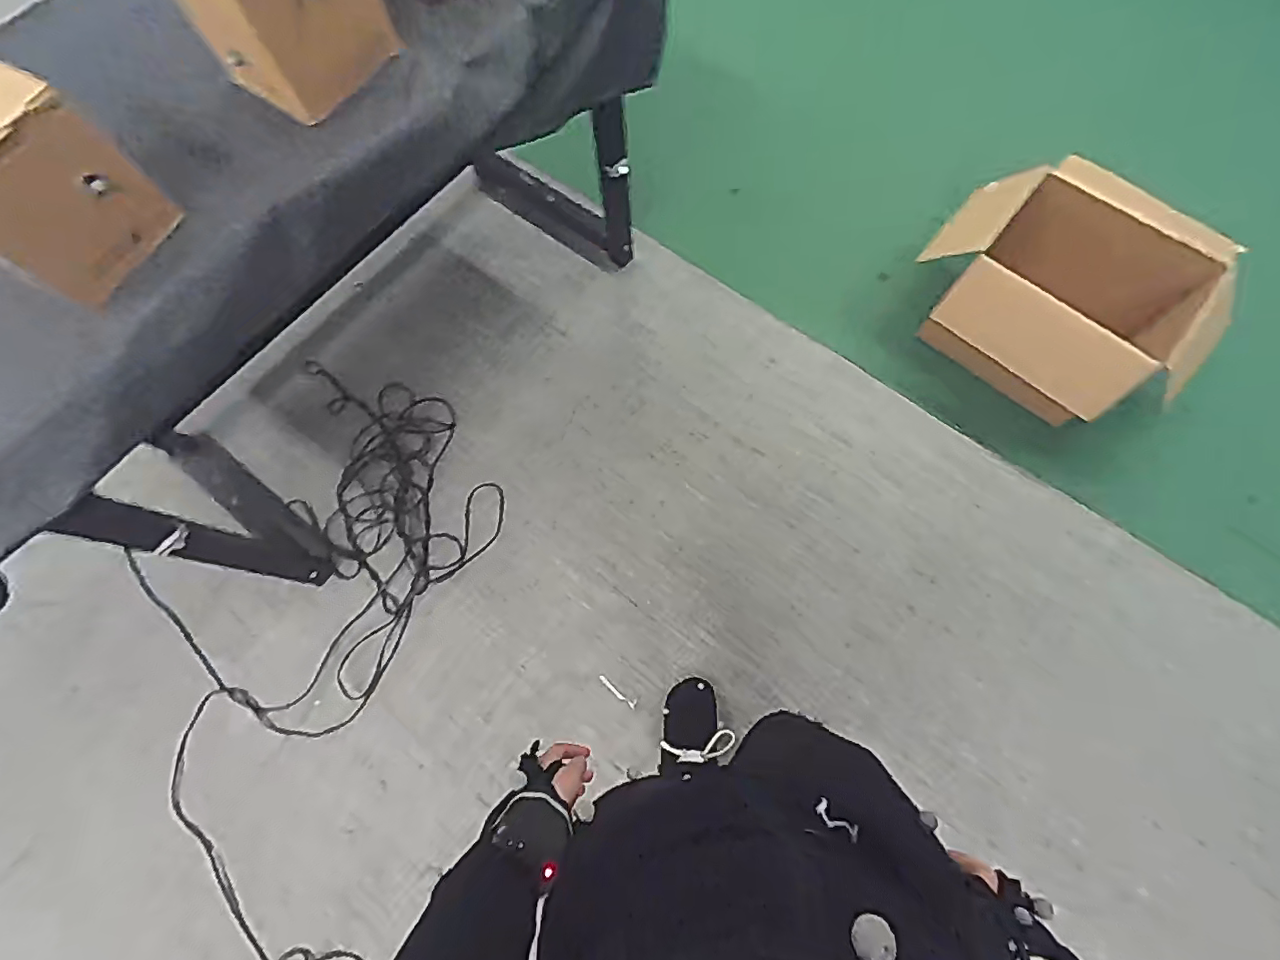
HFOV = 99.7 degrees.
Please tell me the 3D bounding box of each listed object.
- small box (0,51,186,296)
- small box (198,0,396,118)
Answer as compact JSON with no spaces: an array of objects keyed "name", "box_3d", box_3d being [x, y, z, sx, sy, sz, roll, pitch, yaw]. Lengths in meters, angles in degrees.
[{"name":"small box","box_3d":[-0.676,-0.335,0.599,0.179,0.176,0.168,26,73,11]},{"name":"small box","box_3d":[-0.442,-0.616,0.684,0.168,0.176,0.179,34,77,12]}]
